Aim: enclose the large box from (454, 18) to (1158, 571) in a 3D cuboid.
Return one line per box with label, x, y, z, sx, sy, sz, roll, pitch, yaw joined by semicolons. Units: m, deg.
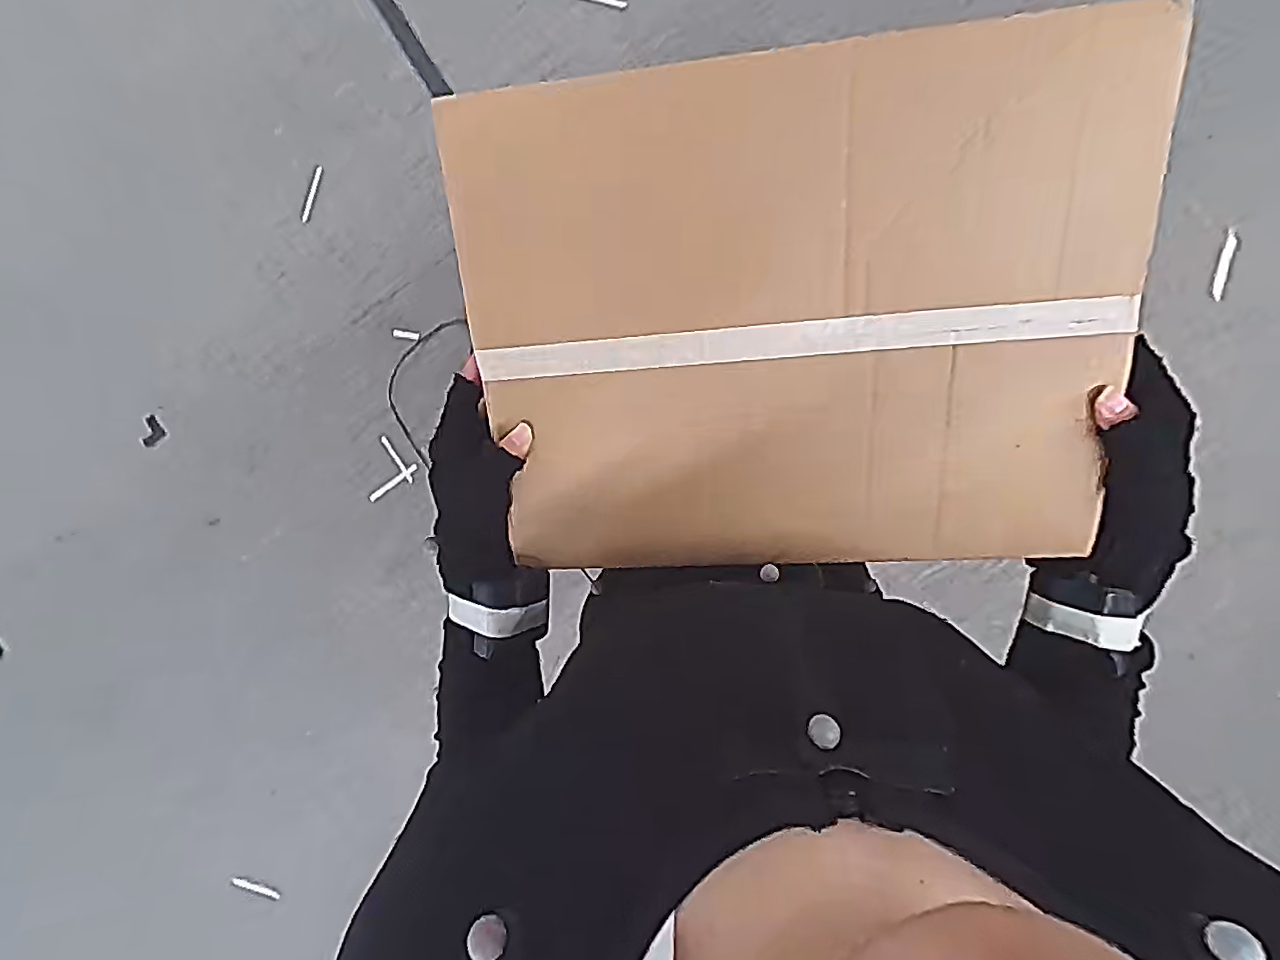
large box;0.107;-0.131;0.495;0.408;0.320;0.320;-3;109;7
